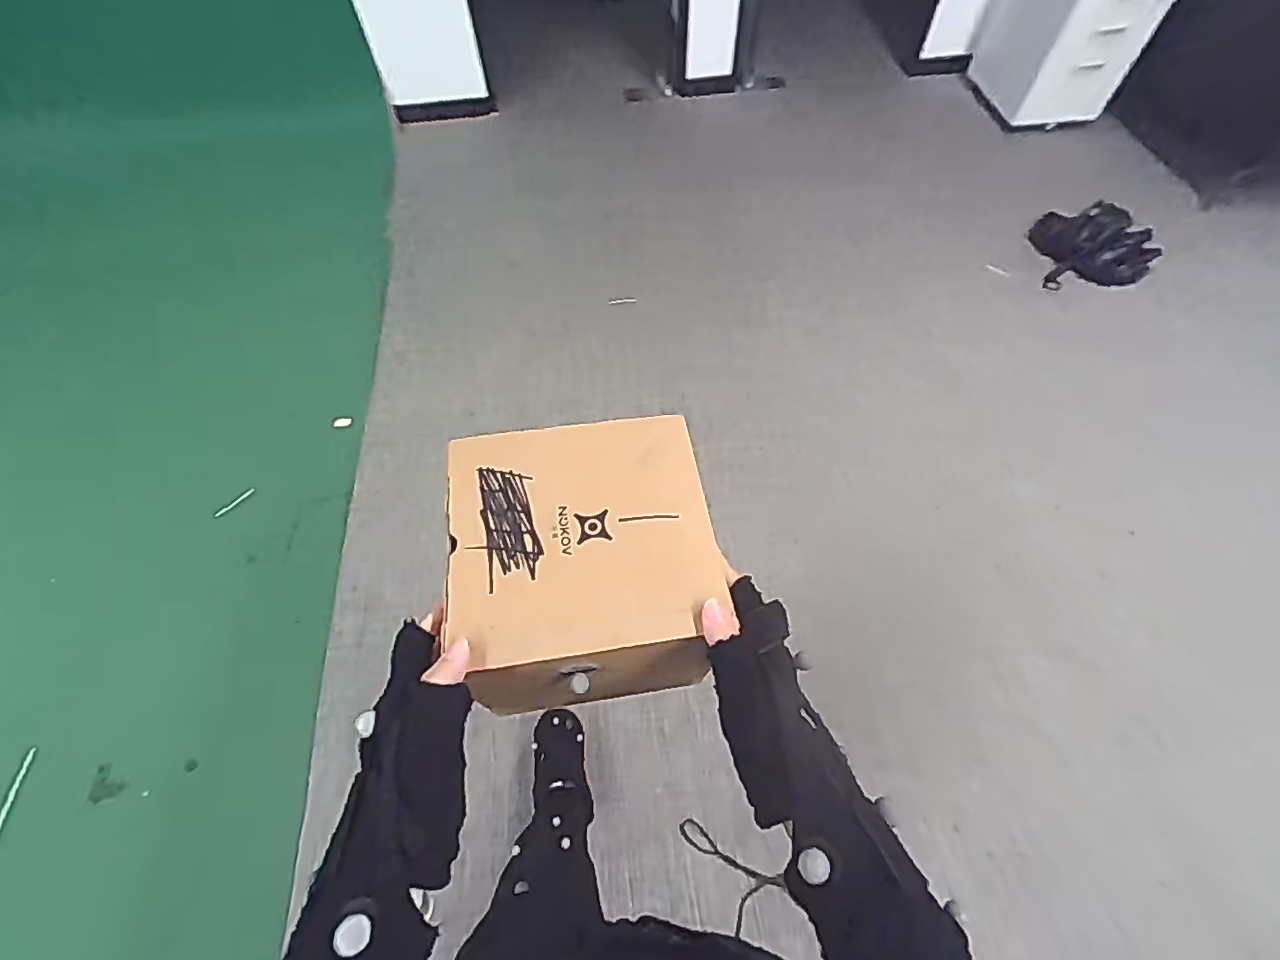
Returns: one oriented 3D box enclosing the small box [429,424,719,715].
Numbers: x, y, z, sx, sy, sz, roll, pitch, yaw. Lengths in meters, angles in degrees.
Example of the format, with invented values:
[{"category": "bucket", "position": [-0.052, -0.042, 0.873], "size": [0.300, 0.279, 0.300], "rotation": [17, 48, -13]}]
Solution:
[{"category": "small box", "position": [-0.048, 0.078, 0.427], "size": [0.179, 0.176, 0.168], "rotation": [-6, 59, -5]}]
